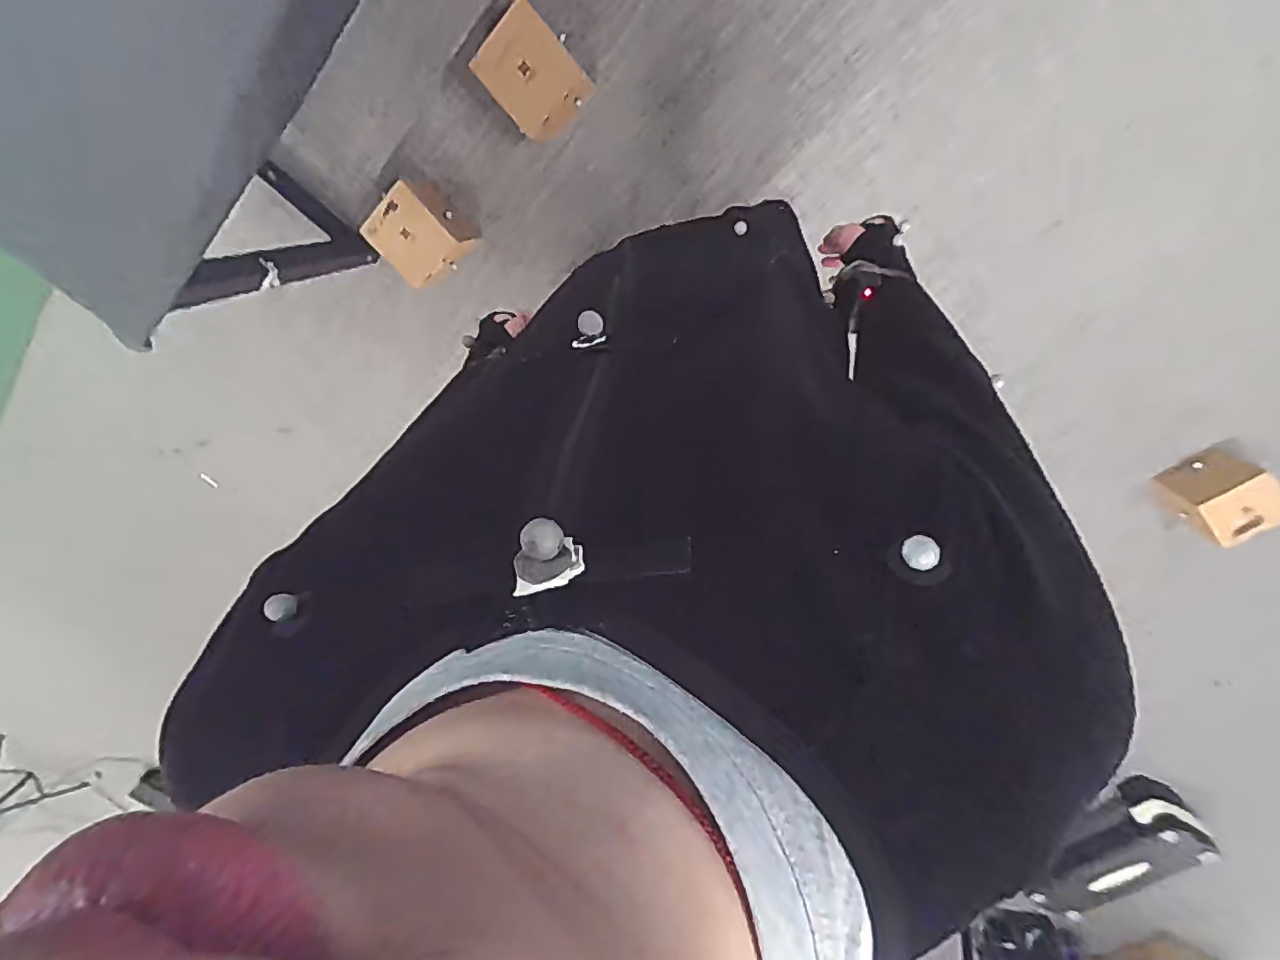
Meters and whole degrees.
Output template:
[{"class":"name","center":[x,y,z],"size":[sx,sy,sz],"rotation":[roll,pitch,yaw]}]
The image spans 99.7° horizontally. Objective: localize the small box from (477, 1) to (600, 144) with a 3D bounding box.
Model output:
[{"class":"small box","center":[-0.209,-0.856,1.163],"size":[0.168,0.176,0.179],"rotation":[-38,105,22]}]

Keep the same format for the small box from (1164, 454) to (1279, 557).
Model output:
[{"class":"small box","center":[1.557,0.062,1.422],"size":[0.168,0.176,0.179],"rotation":[-39,106,23]}]
